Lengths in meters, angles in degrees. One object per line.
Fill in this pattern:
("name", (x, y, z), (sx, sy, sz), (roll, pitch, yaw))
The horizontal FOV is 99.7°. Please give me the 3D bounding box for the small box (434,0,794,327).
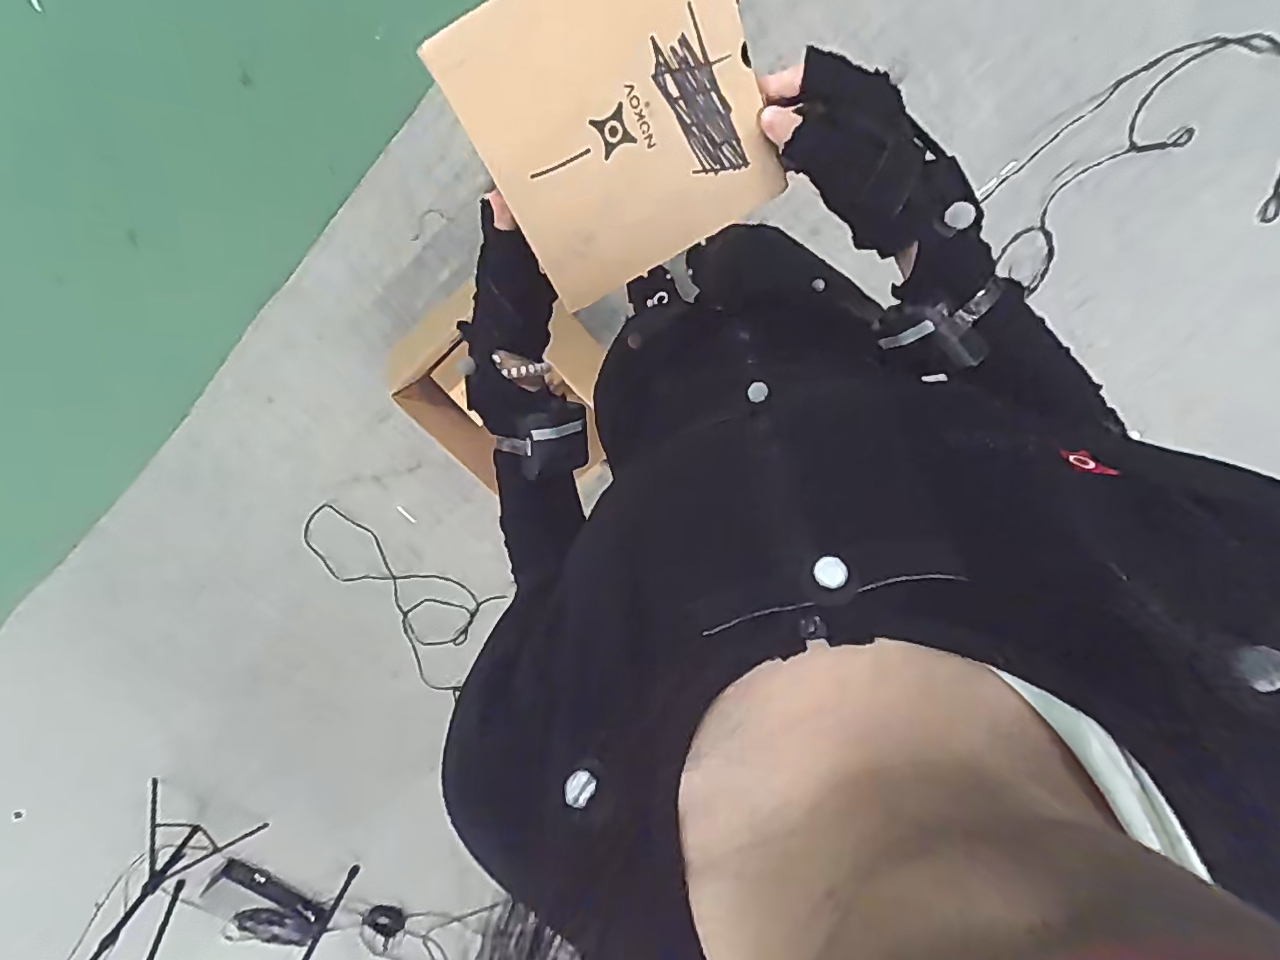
("small box", (-0.021, -0.246, 0.390), (0.179, 0.176, 0.168), (-28, 125, 5))
